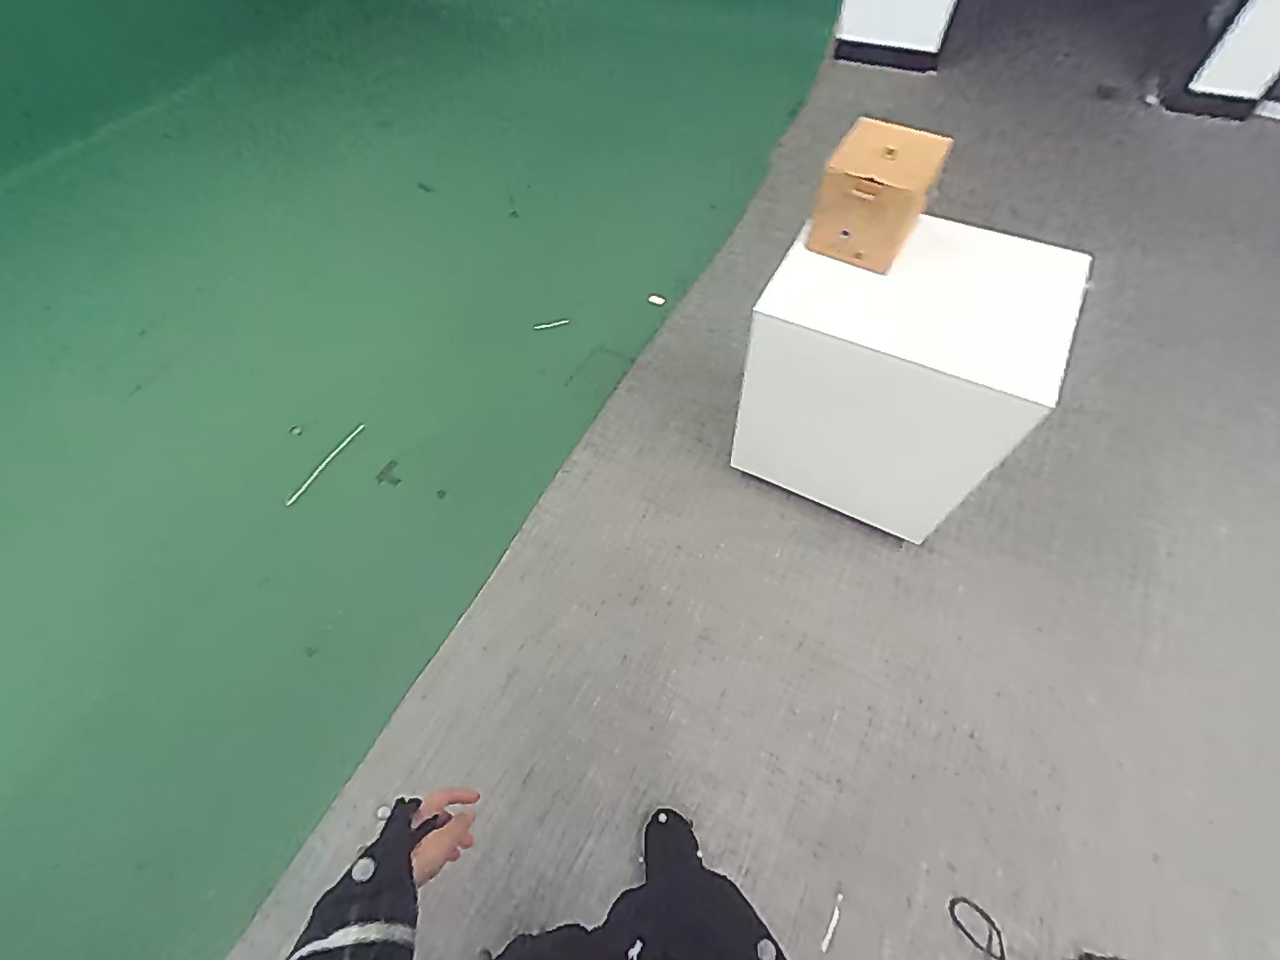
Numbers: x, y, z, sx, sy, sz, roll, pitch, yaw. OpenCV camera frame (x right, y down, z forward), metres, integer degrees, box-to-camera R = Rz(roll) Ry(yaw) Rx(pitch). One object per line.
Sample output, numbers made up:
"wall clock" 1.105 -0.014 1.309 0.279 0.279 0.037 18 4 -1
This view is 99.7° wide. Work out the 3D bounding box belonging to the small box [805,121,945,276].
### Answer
"small box" 0.427 -0.521 1.008 0.168 0.176 0.179 27 66 17
